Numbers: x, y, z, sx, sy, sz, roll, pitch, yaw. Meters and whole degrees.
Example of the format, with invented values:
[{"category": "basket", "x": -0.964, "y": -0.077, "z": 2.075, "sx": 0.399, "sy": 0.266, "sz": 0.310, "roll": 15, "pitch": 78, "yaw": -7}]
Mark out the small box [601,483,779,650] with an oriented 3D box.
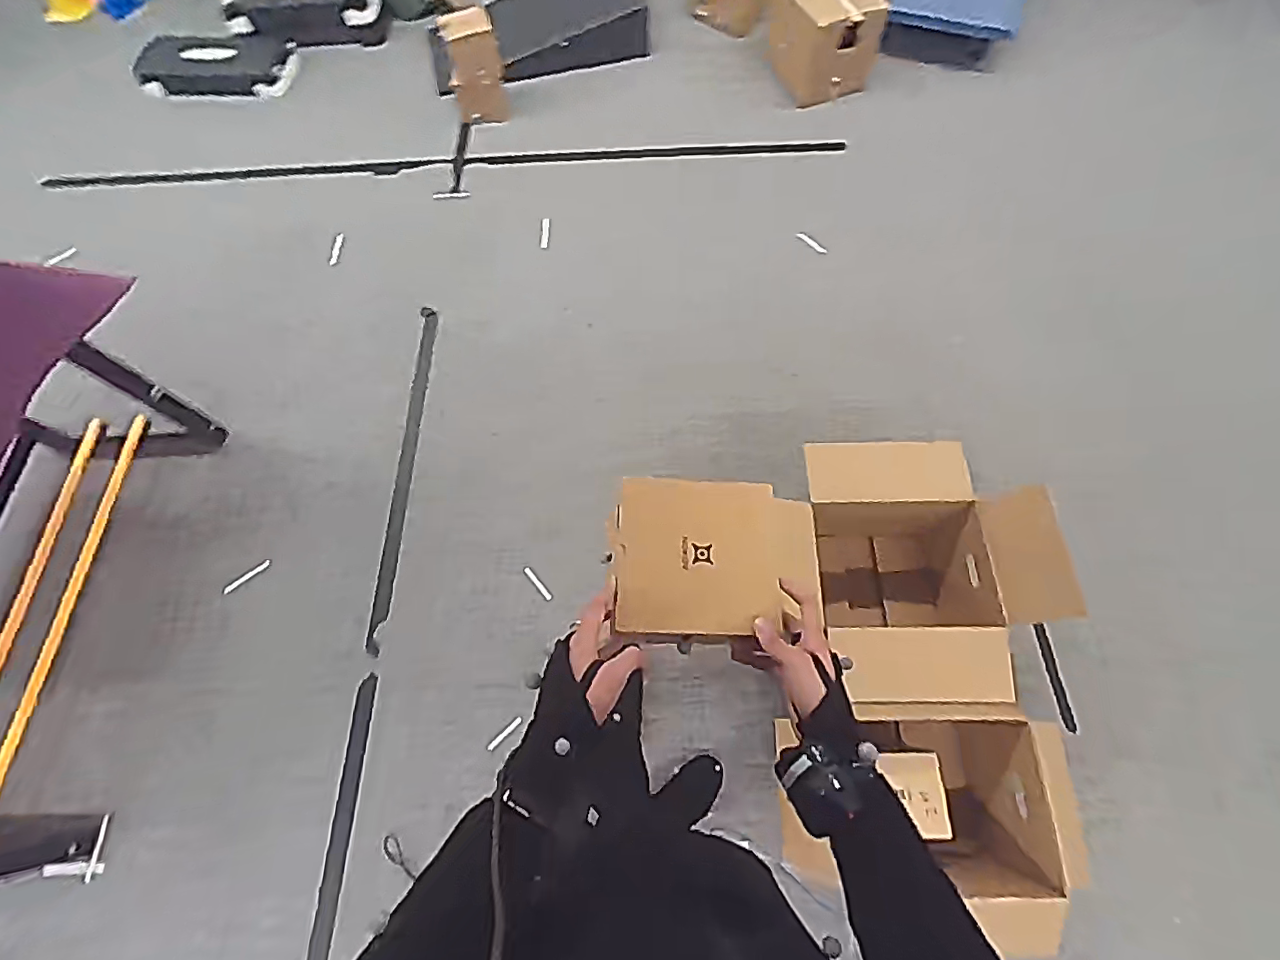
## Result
[{"category": "small box", "x": 0.047, "y": 0.110, "z": 0.640, "sx": 0.179, "sy": 0.176, "sz": 0.168, "roll": 2, "pitch": 70, "yaw": -5}]
